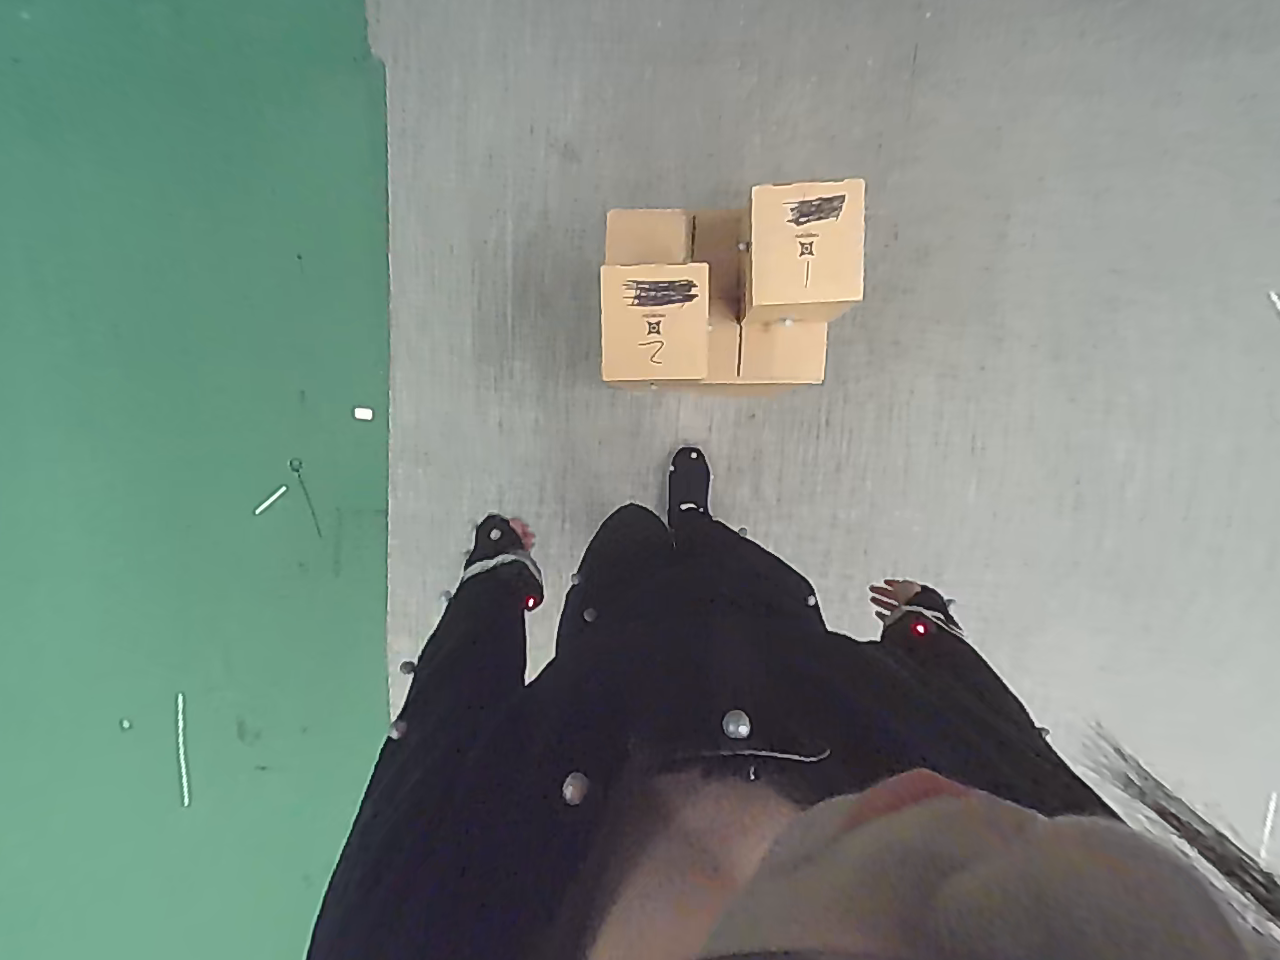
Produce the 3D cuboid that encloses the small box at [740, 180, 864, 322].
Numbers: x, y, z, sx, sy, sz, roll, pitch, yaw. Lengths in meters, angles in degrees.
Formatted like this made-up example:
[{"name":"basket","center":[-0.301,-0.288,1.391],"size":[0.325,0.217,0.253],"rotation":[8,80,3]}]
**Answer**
[{"name":"small box","center":[0.255,-0.364,0.887],"size":[0.168,0.176,0.179],"rotation":[0,98,5]}]
